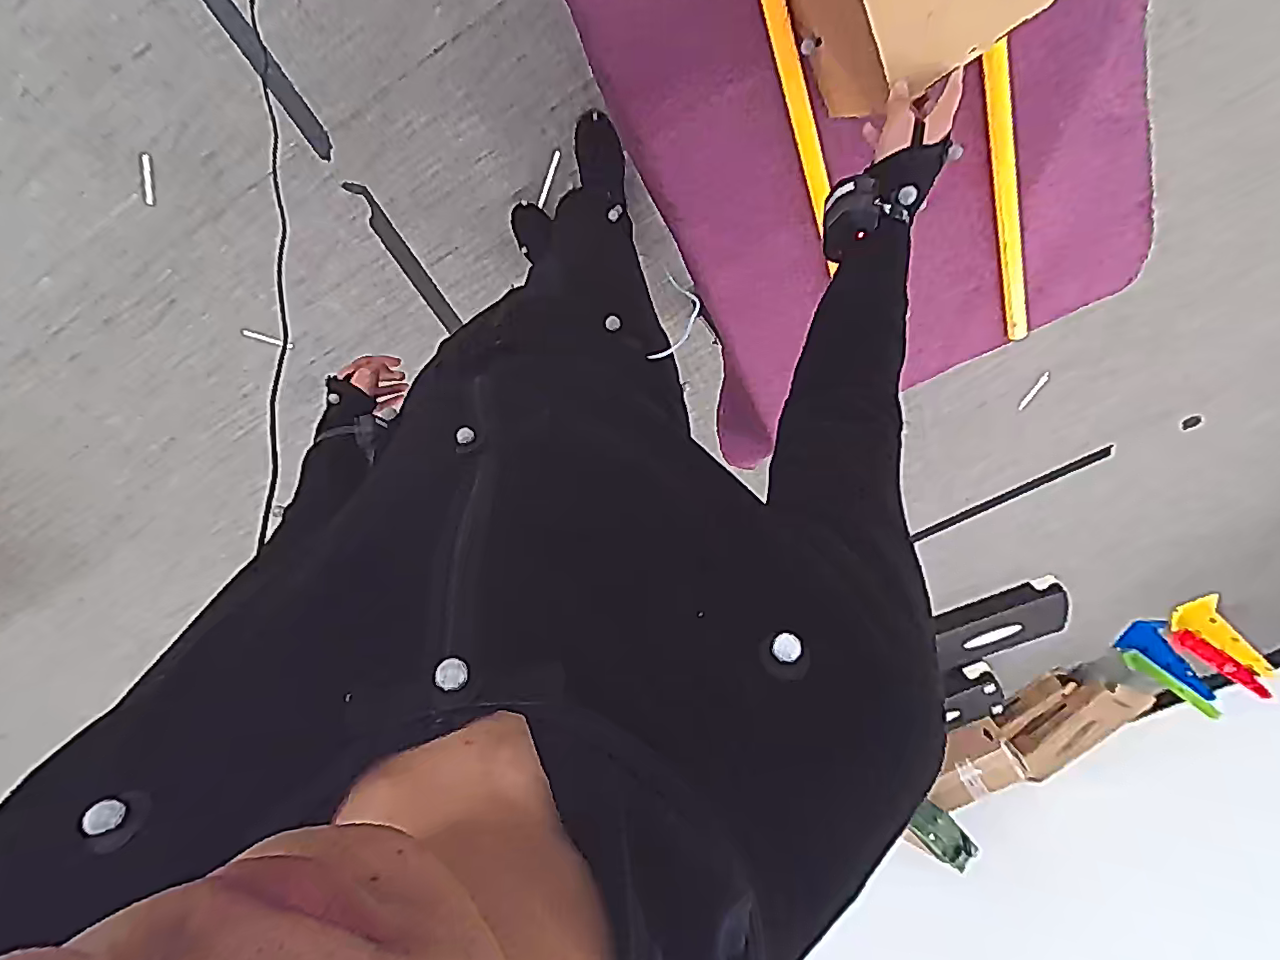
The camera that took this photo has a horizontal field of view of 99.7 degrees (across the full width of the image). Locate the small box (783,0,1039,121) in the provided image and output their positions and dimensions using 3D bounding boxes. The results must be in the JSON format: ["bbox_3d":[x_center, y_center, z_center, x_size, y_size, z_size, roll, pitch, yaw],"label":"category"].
[{"bbox_3d":[0.267,-0.515,0.565,0.168,0.176,0.179,-31,122,13],"label":"small box"}]
